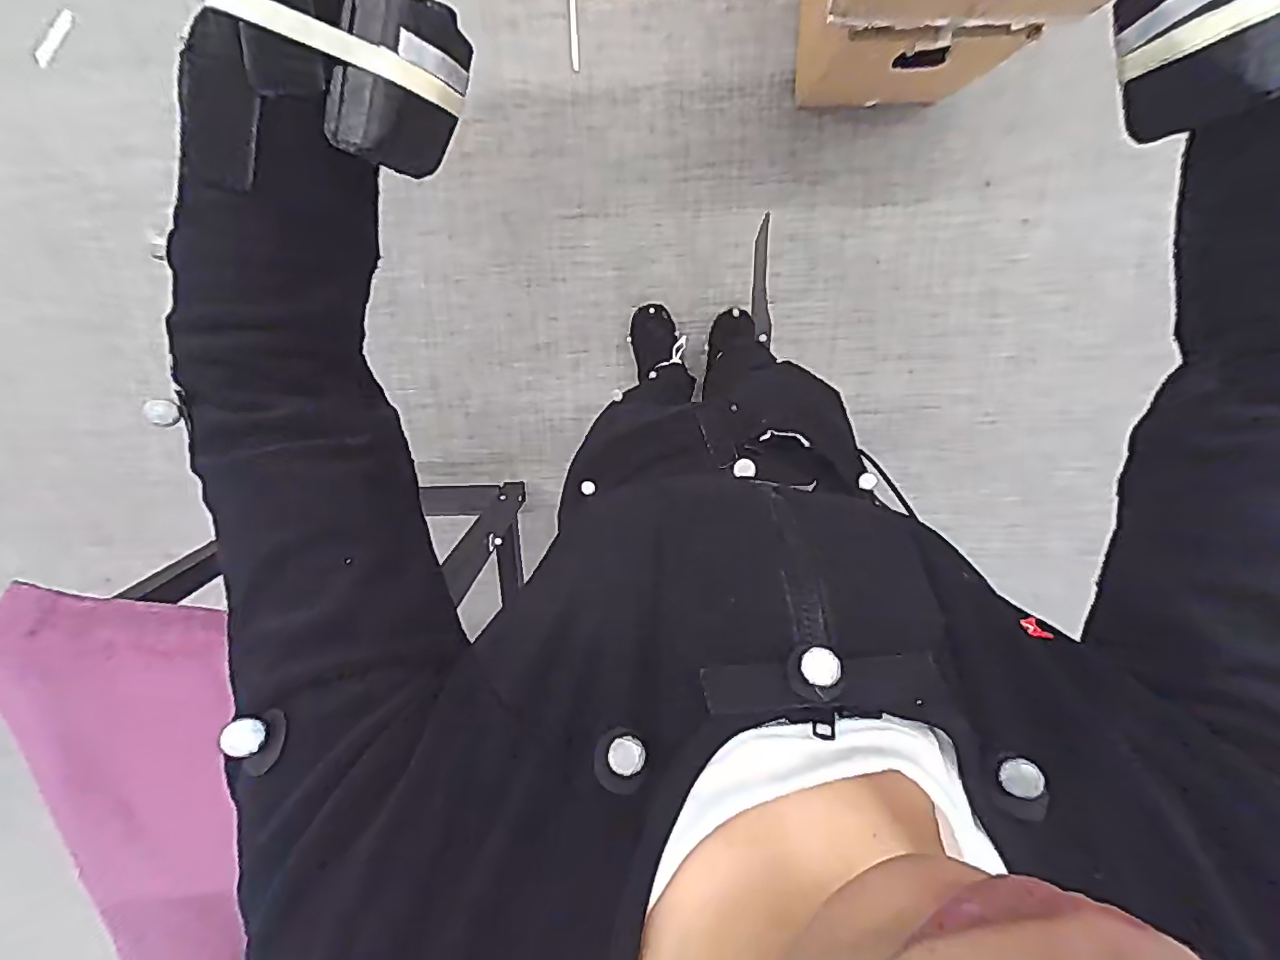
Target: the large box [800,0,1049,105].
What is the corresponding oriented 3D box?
[{"bbox_3d":[0.478,-0.937,0.937,0.320,0.320,0.408,-2,109,1],"label":"large box"}]
